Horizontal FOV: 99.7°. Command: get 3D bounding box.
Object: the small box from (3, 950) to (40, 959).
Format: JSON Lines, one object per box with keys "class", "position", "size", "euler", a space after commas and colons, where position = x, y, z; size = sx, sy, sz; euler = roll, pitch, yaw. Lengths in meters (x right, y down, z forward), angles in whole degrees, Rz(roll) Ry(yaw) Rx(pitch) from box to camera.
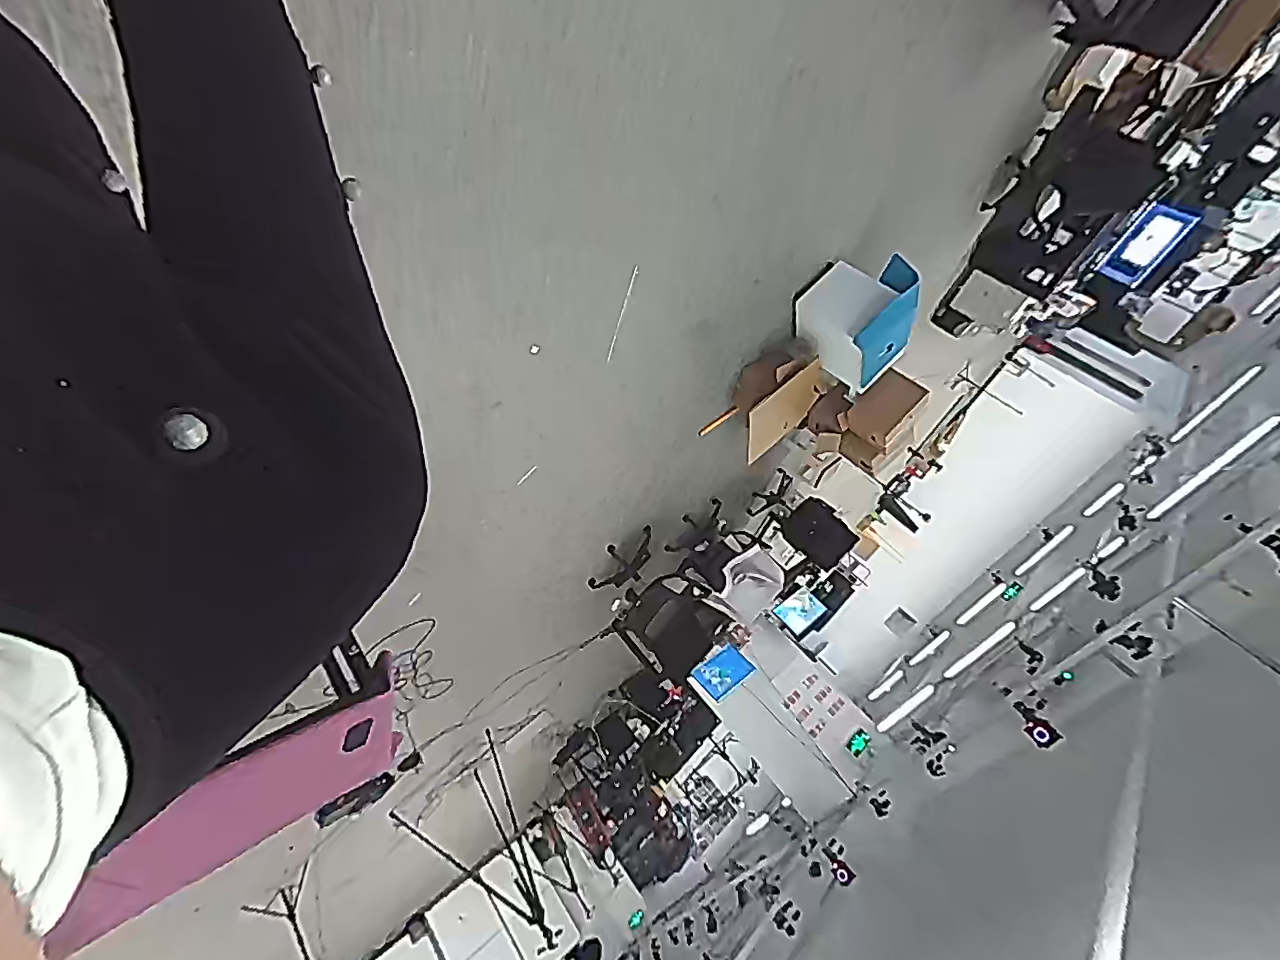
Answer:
{"class": "small box", "position": [-1.616, 1.332, 1.348], "size": [0.168, 0.176, 0.179], "euler": [-19, 144, -44]}
